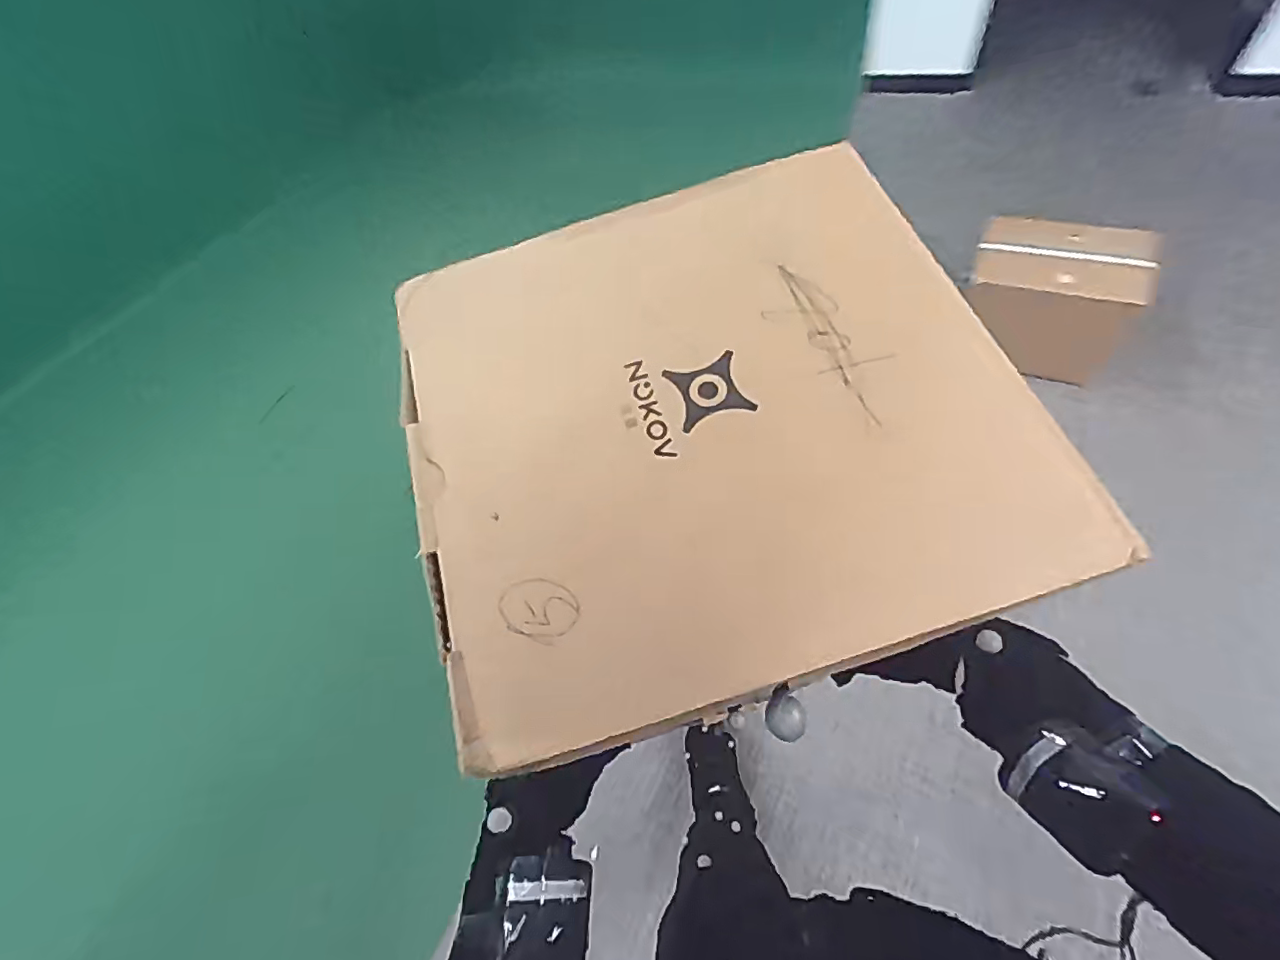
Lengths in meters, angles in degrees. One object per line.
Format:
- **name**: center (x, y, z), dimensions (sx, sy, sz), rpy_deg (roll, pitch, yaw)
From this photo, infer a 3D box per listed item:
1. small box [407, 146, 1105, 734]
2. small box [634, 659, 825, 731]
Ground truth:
- **small box**: center (0.026, 0.002, 0.243), dimensions (0.179, 0.176, 0.168), rpy_deg (-18, 66, -1)
- **small box**: center (0.062, 0.132, 0.540), dimensions (0.168, 0.176, 0.179), rpy_deg (-18, 66, 0)
